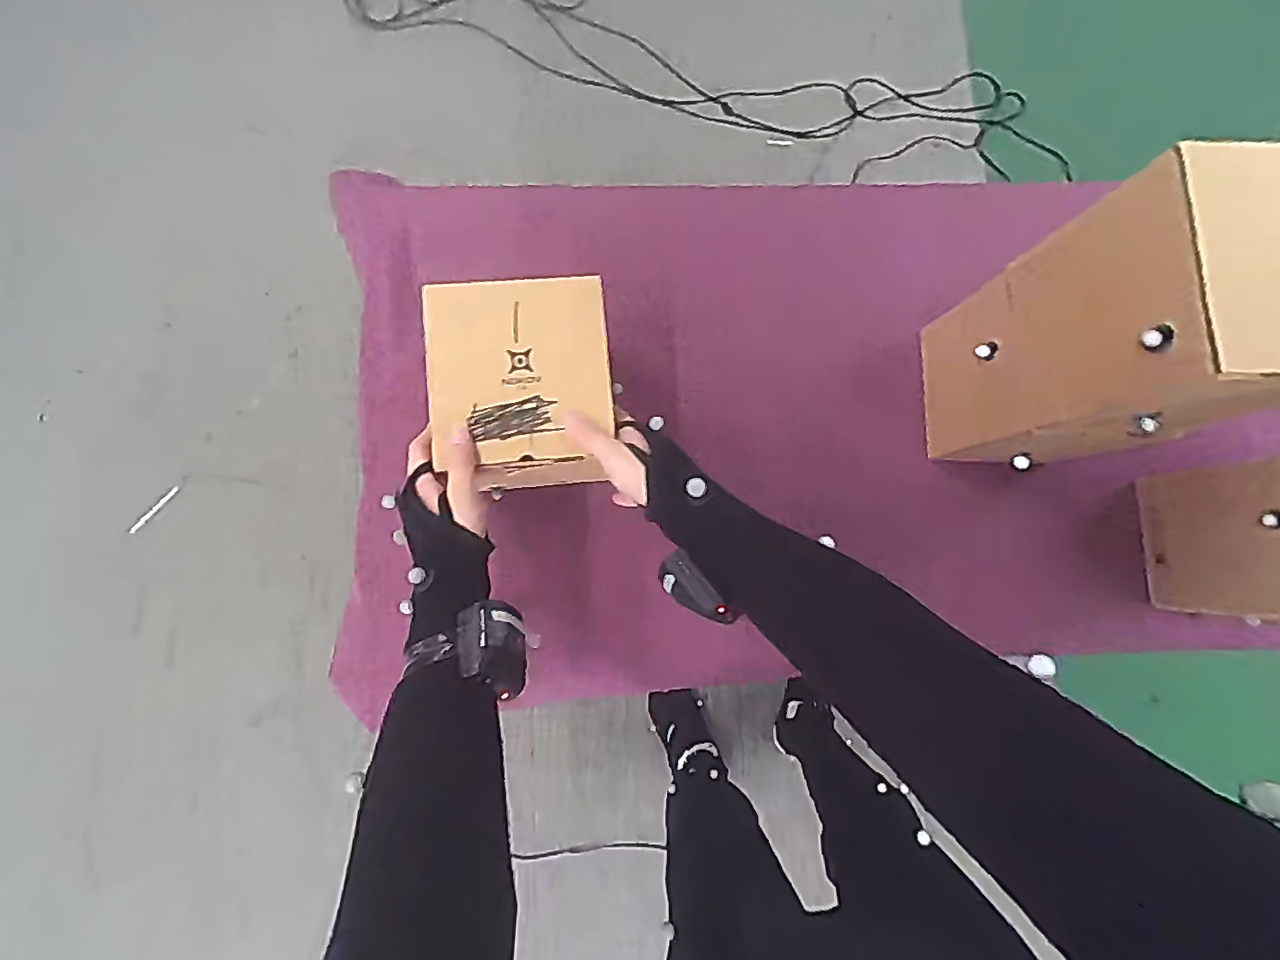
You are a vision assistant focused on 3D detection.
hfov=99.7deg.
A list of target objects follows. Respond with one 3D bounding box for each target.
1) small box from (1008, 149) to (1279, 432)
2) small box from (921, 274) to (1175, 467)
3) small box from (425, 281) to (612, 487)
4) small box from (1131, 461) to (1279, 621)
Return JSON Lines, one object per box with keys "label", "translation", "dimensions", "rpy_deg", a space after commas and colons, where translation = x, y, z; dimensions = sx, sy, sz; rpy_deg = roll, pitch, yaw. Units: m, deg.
{"label": "small box", "translation": [0.455, -0.144, 0.465], "dimensions": [0.168, 0.176, 0.179], "rpy_deg": [-1, 84, -5]}
{"label": "small box", "translation": [0.449, -0.118, 0.625], "dimensions": [0.168, 0.176, 0.179], "rpy_deg": [2, 83, -4]}
{"label": "small box", "translation": [-0.118, -0.088, 0.576], "dimensions": [0.168, 0.176, 0.179], "rpy_deg": [-5, 82, -6]}
{"label": "small box", "translation": [0.728, 0.072, 0.620], "dimensions": [0.179, 0.176, 0.168], "rpy_deg": [1, 81, -4]}
